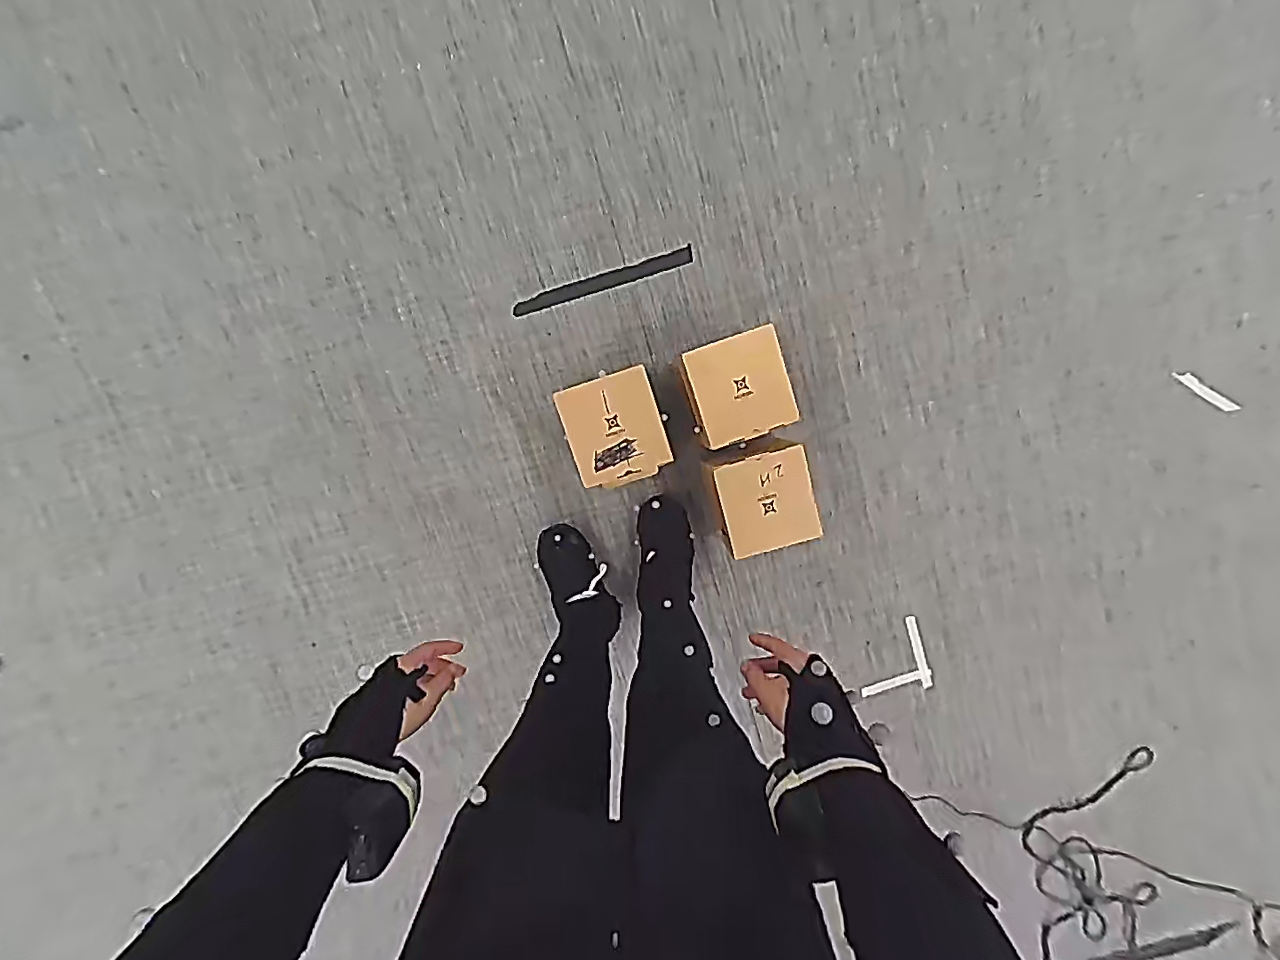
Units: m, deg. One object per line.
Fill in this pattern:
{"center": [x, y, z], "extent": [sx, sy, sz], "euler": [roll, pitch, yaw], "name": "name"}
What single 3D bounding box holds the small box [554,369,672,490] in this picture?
{"center": [-0.046, -0.098, 1.006], "extent": [0.168, 0.176, 0.179], "euler": [-18, 98, 1], "name": "small box"}
